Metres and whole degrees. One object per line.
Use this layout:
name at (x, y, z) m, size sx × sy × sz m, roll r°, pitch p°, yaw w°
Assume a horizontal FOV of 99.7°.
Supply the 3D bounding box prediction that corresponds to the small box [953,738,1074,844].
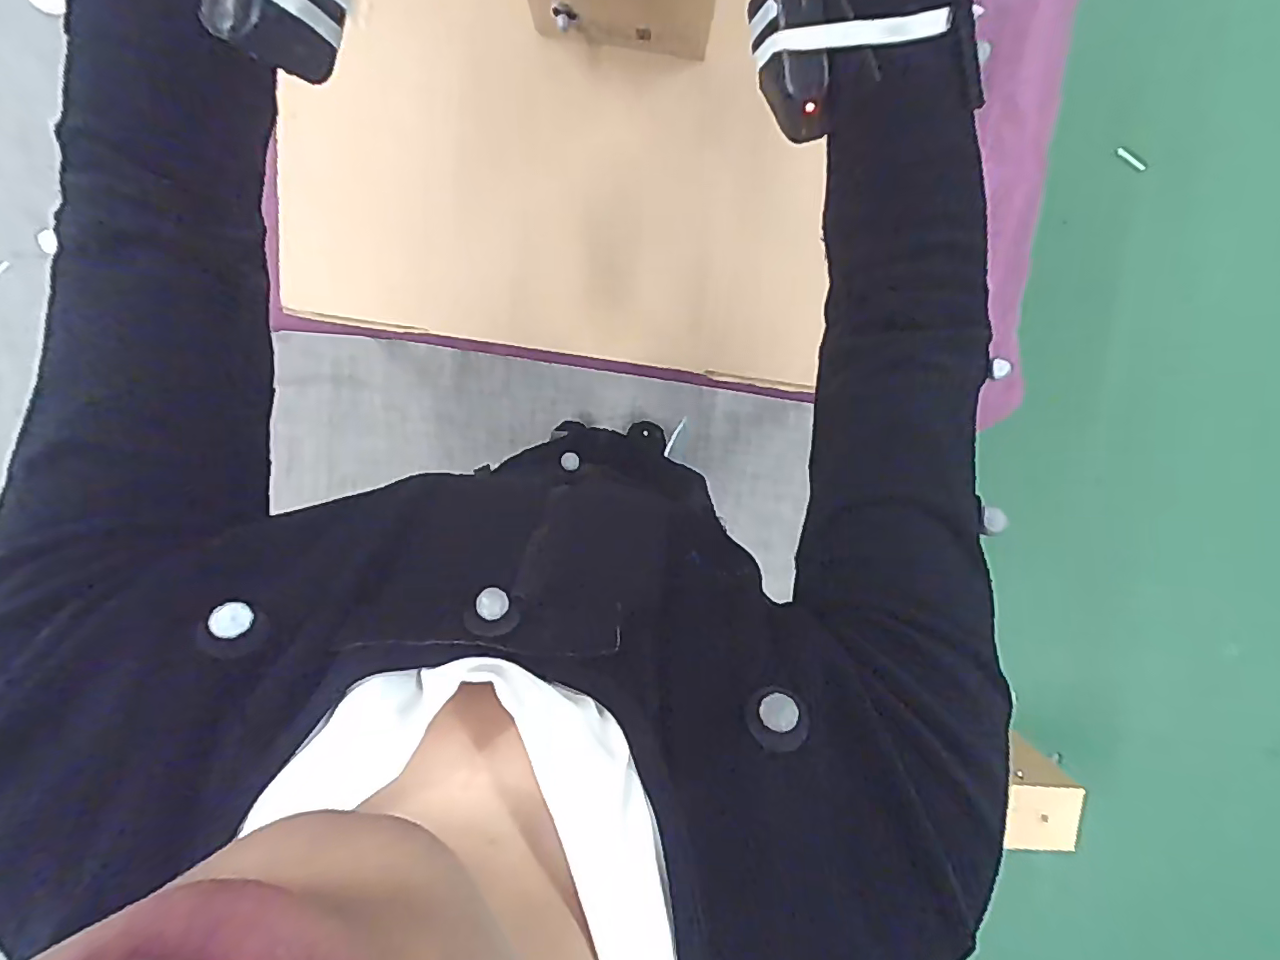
small box at (0.928, 0.773, 1.358) m, size 0.179 × 0.176 × 0.168 m, roll 3°, pitch 98°, yaw 0°

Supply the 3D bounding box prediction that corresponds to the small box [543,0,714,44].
small box at (-0.005, -0.494, 0.423) m, size 0.168 × 0.176 × 0.179 m, roll 8°, pitch 95°, yaw -2°
